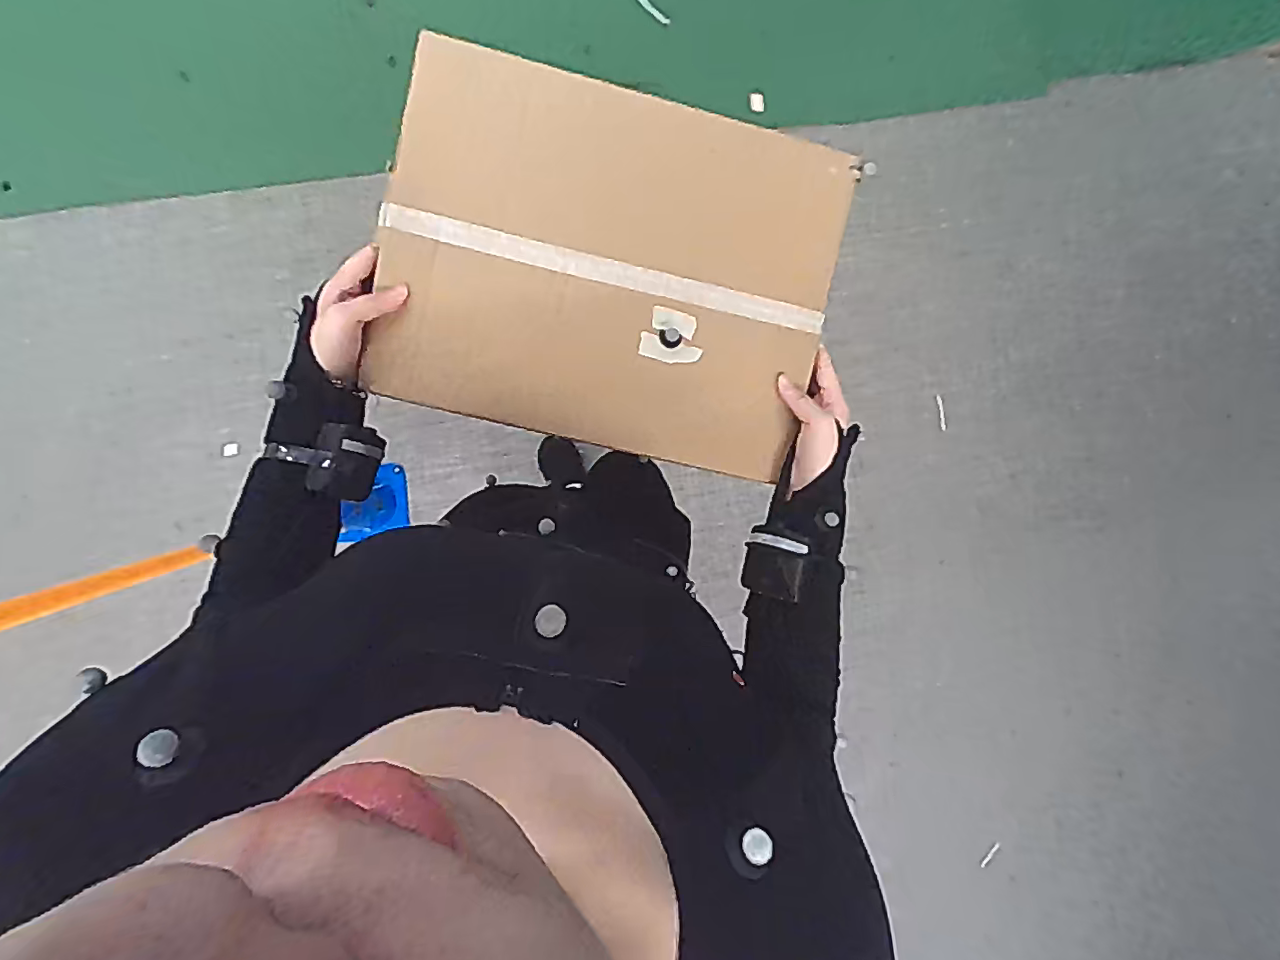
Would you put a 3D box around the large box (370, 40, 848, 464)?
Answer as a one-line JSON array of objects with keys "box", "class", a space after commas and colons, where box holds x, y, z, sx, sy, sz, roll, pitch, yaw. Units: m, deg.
[{"box": [-0.039, -0.213, 0.646, 0.408, 0.320, 0.320, 12, 95, -6], "class": "large box"}]

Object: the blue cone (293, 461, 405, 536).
[{"box": [-0.696, 0.054, 1.257, 0.193, 0.380, 0.192, -2, 92, -8], "class": "blue cone"}]
